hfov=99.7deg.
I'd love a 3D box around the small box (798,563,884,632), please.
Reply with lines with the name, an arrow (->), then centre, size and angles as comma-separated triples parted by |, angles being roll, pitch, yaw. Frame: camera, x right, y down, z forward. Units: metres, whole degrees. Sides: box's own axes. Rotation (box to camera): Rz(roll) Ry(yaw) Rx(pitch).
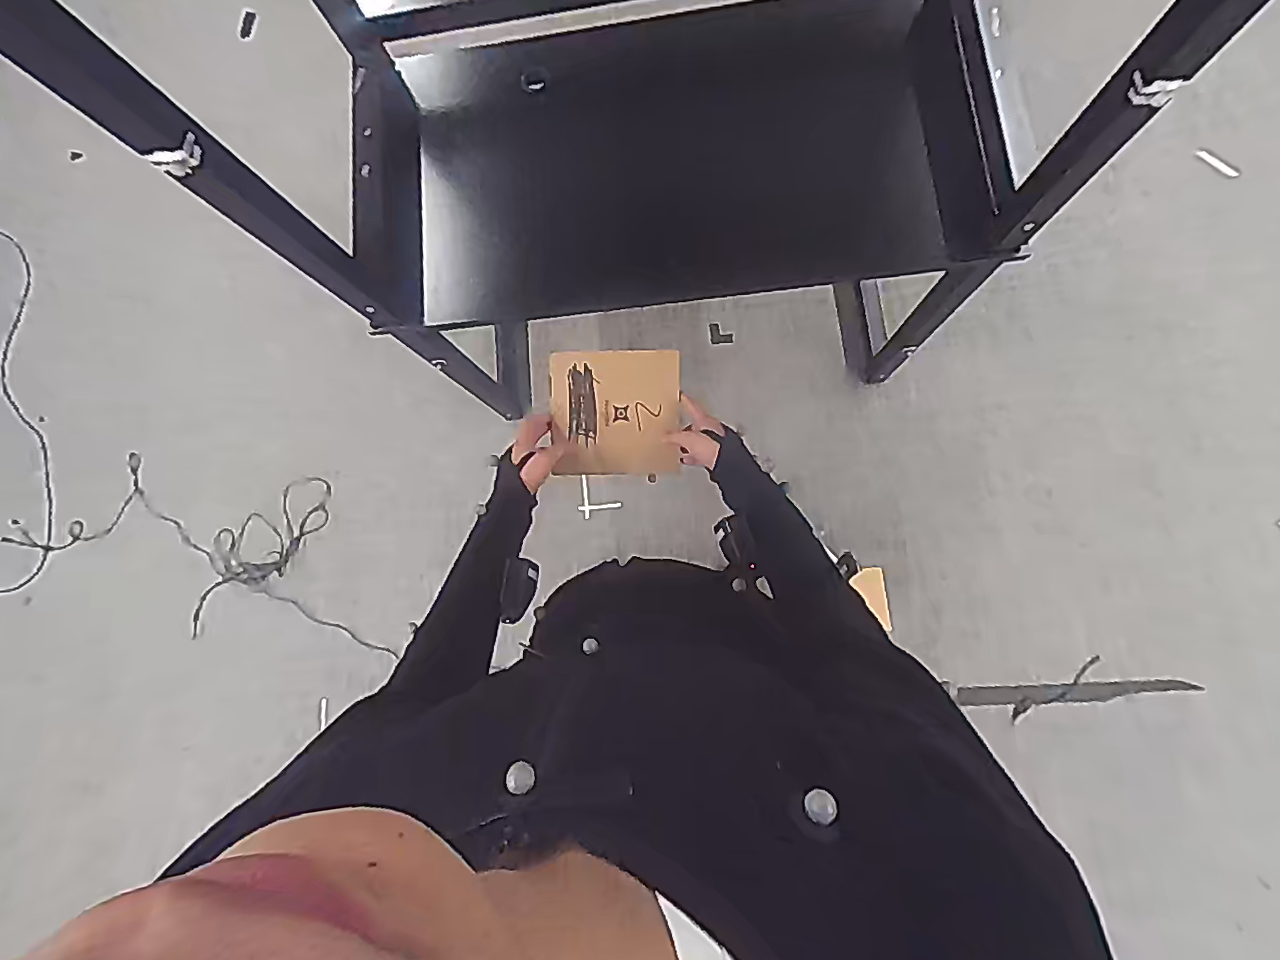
small box -> 0.549, 0.320, 1.495 | 0.179, 0.176, 0.168 | -6, 81, 5
